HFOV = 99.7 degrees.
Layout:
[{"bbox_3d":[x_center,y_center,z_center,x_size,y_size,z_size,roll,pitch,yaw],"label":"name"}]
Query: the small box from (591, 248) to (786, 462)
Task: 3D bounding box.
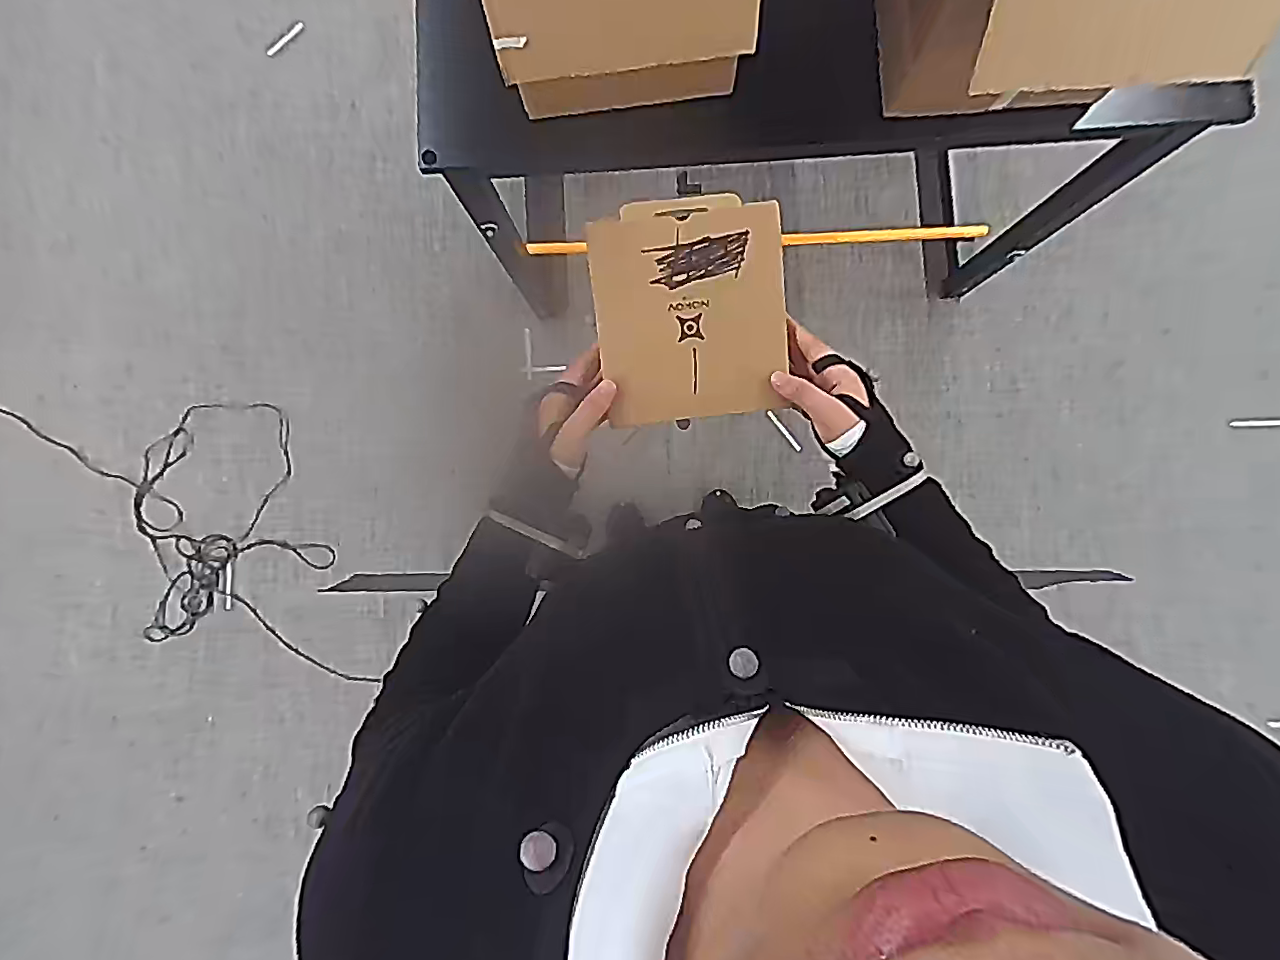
[{"bbox_3d":[0.043,-0.121,0.560,0.168,0.176,0.179,-6,100,1],"label":"small box"}]
